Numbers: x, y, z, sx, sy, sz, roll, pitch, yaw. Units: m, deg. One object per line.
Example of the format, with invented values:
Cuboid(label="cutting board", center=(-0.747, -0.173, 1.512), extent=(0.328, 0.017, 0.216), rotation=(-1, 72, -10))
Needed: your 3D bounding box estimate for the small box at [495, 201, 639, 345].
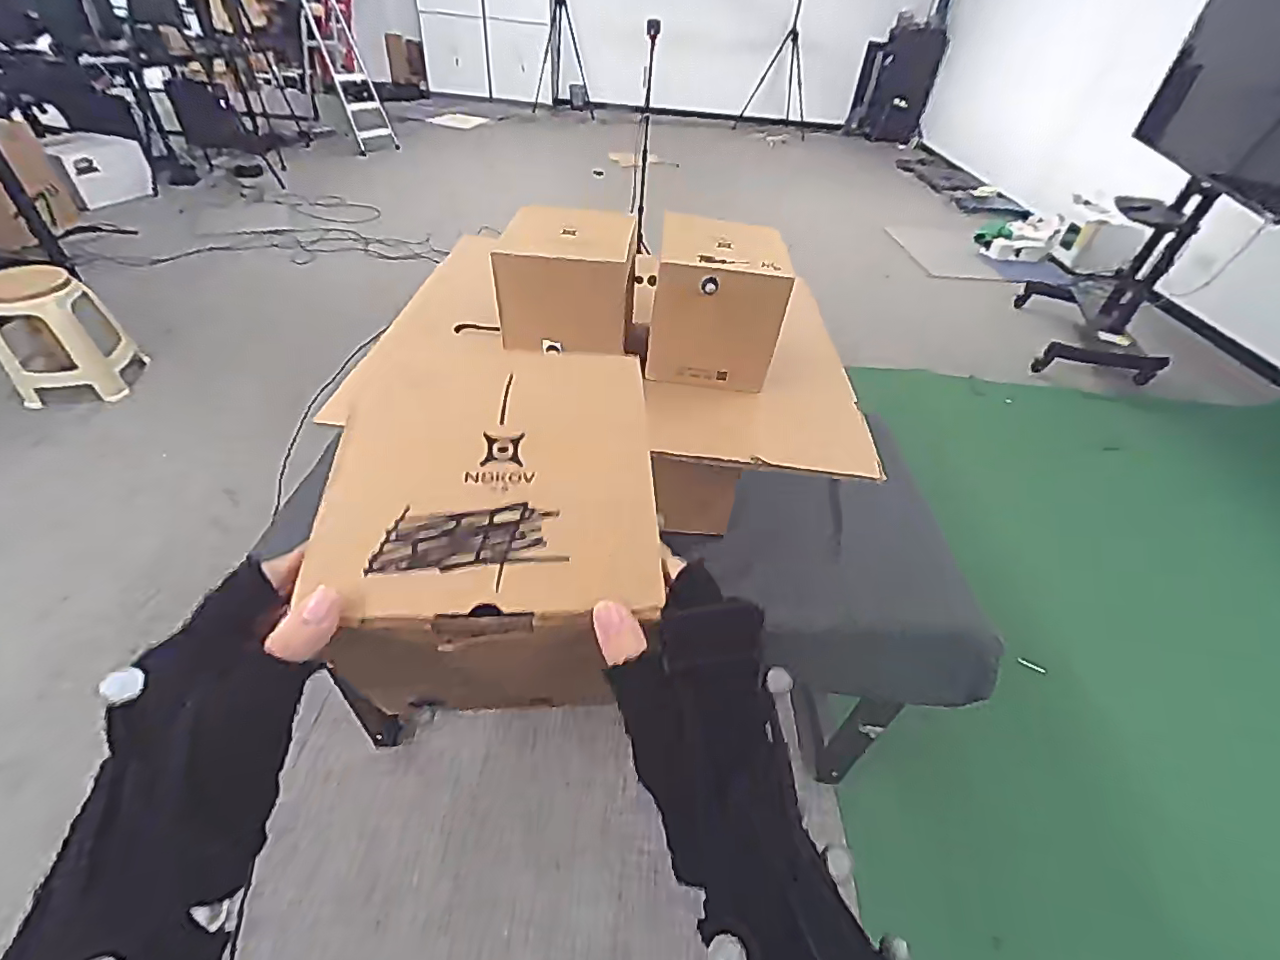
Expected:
Cuboid(label="small box", center=(-0.093, -0.271, 0.760), extent=(0.168, 0.176, 0.179), rotation=(4, 44, 1))

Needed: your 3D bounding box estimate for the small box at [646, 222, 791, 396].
Cuboid(label="small box", center=(0.101, -0.244, 0.770), extent=(0.168, 0.176, 0.179), rotation=(7, 42, -1))

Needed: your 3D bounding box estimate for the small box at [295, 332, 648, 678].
Cuboid(label="small box", center=(-0.088, 0.026, 0.363), extent=(0.168, 0.176, 0.179), rotation=(1, 53, -7))
